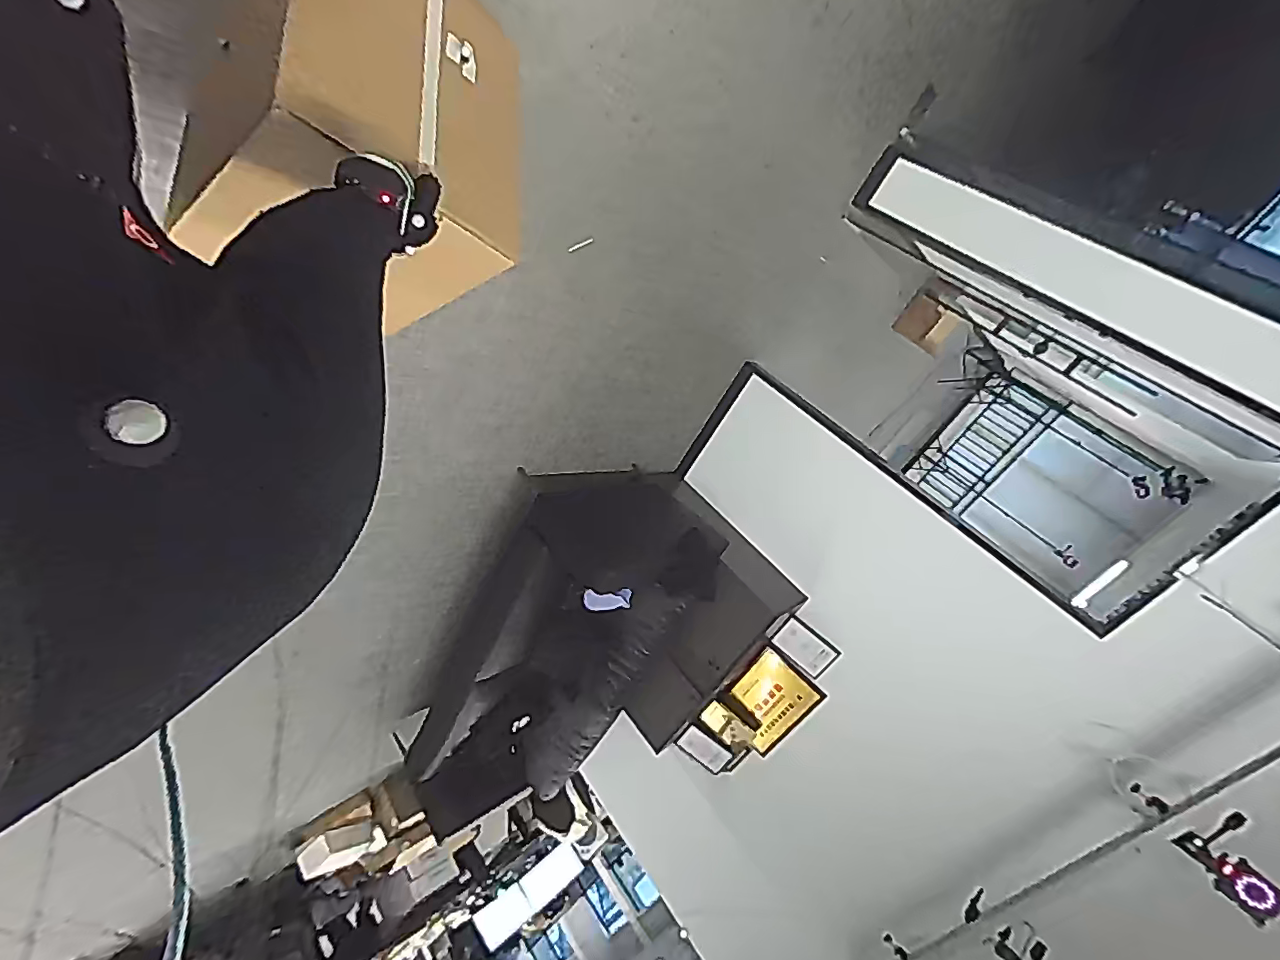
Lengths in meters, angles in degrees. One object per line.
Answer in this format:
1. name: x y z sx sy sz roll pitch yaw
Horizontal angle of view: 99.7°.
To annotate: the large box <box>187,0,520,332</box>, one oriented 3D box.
1. large box: -0.395 -0.492 0.781 0.320 0.408 0.320 -13 163 32
